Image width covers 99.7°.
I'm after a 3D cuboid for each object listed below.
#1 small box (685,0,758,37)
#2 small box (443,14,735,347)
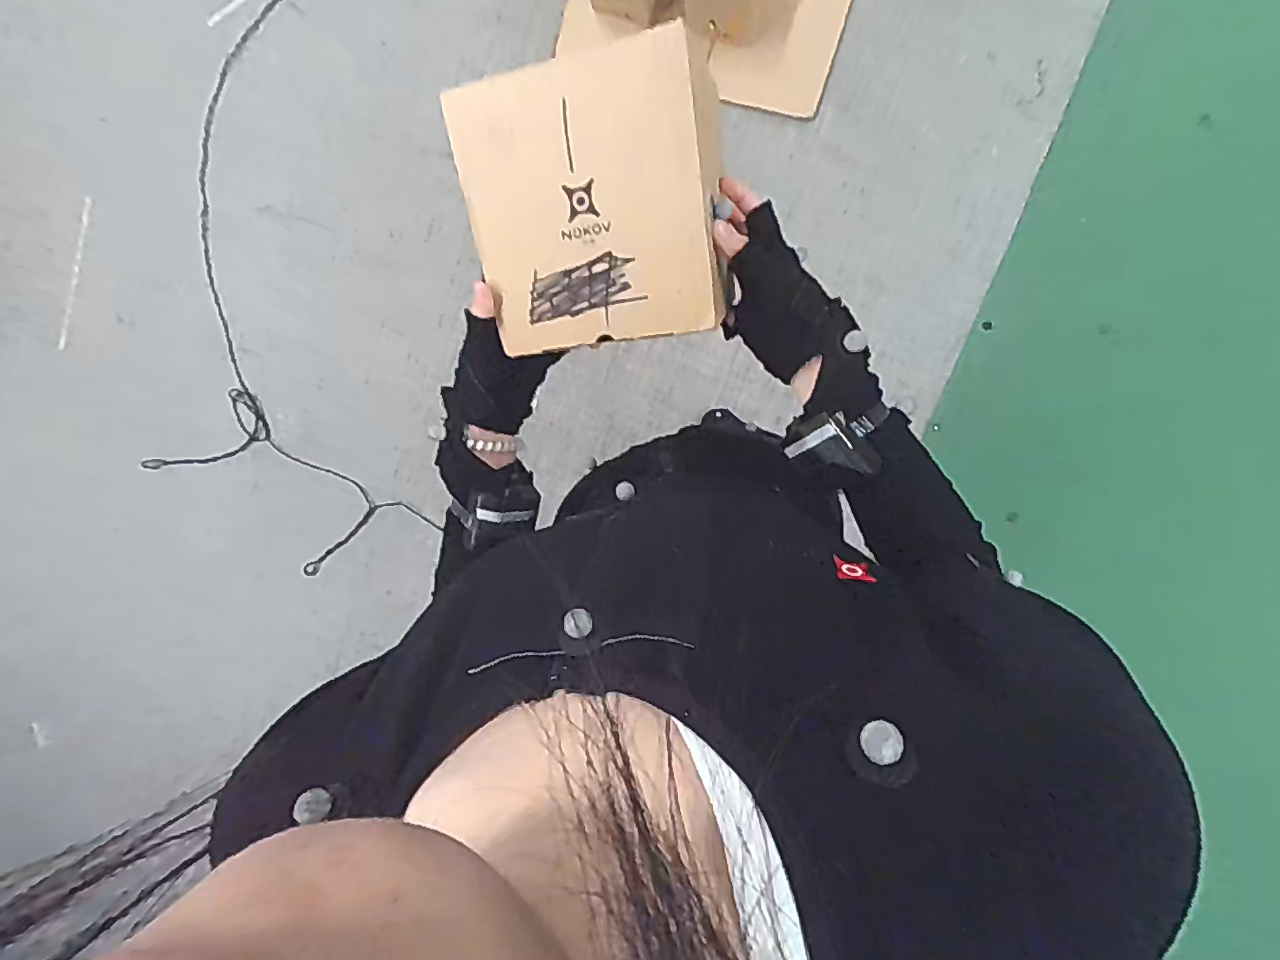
[{"bbox_3d":[0.199,-1.186,1.248,0.168,0.176,0.179,16,99,5],"label":"small box"},{"bbox_3d":[-0.018,-0.218,0.430,0.168,0.176,0.179,-3,114,16],"label":"small box"}]
